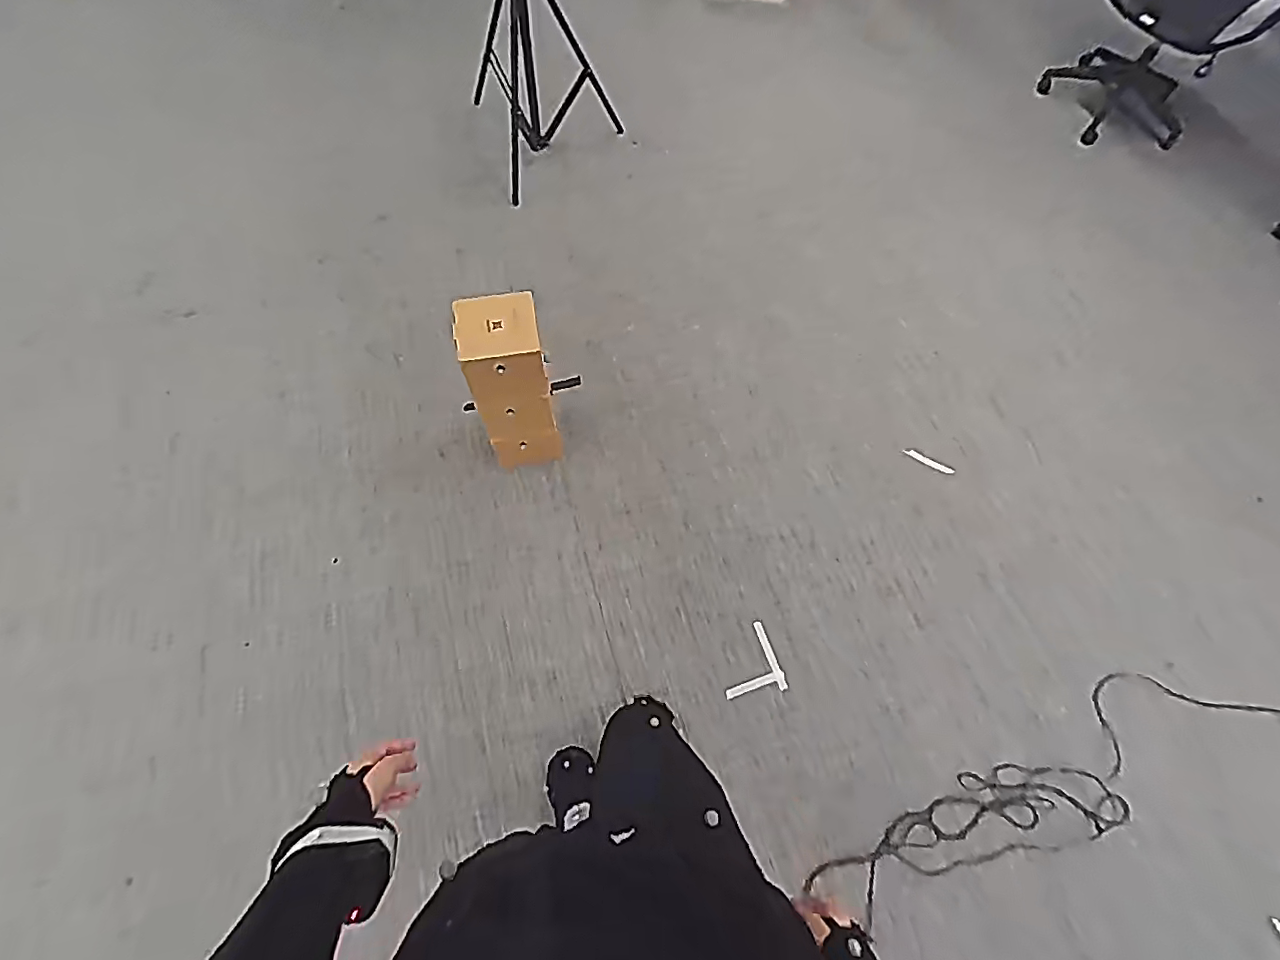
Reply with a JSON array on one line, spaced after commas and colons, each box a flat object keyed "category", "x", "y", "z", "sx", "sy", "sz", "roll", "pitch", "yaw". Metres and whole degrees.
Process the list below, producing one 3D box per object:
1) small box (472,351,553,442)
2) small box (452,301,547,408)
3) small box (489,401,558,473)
[{"category": "small box", "x": -0.323, "y": -0.209, "z": 1.382, "sx": 0.179, "sy": 0.176, "sz": 0.168, "roll": -7, "pitch": 67, "yaw": -6}, {"category": "small box", "x": -0.317, "y": -0.281, "z": 1.237, "sx": 0.179, "sy": 0.176, "sz": 0.168, "roll": -10, "pitch": 68, "yaw": -8}, {"category": "small box", "x": -0.329, "y": -0.135, "z": 1.529, "sx": 0.179, "sy": 0.176, "sz": 0.168, "roll": -10, "pitch": 67, "yaw": -8}]
